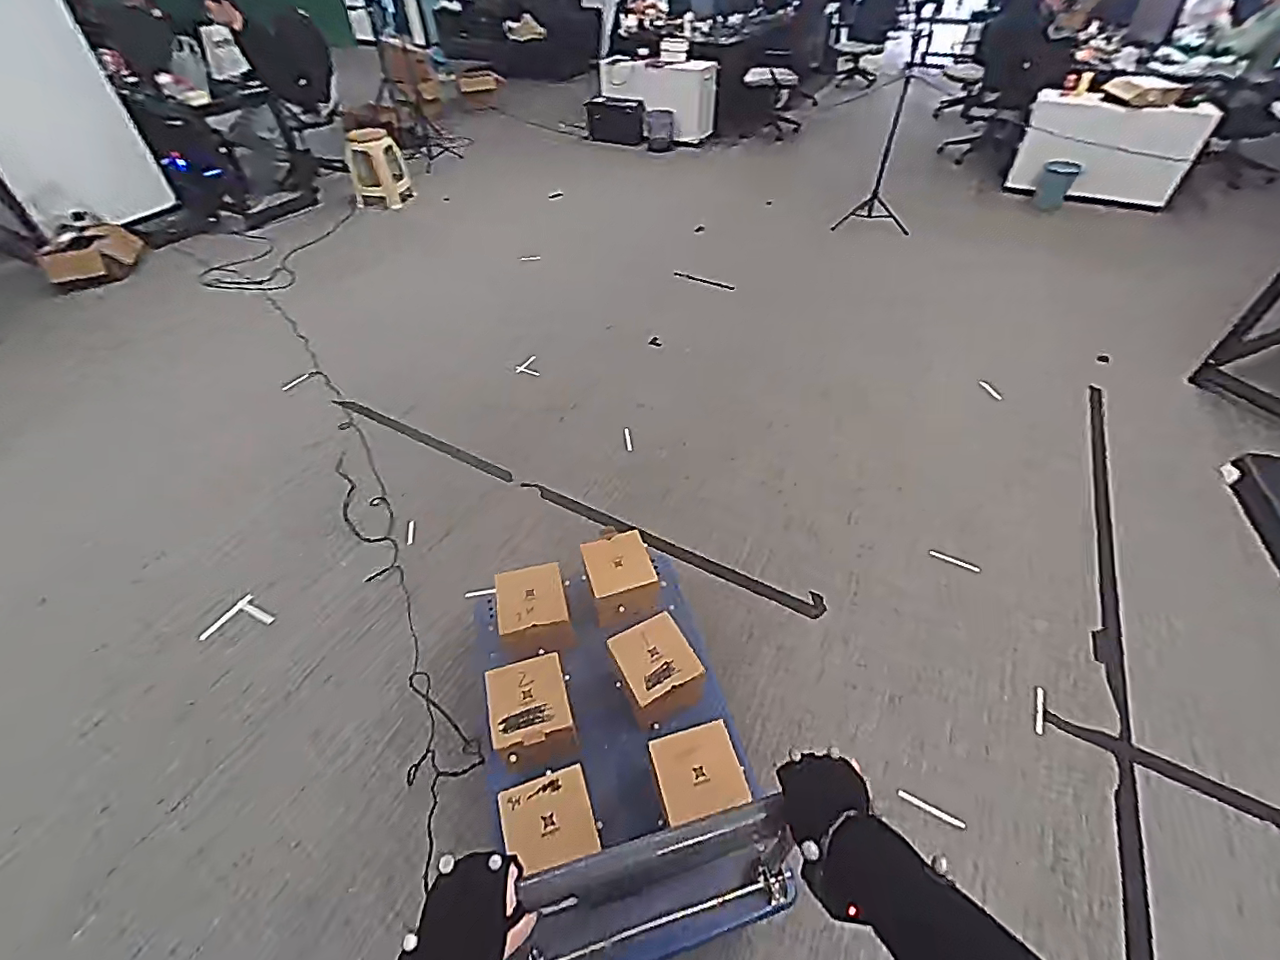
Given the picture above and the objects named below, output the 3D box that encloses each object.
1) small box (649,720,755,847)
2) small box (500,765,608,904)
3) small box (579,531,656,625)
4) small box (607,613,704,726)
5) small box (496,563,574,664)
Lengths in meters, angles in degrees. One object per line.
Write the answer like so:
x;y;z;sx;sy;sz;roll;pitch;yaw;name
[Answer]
0.121;0.632;1.117;0.168;0.176;0.179;-12;47;-10;small box
-0.163;0.697;1.058;0.168;0.176;0.179;-15;48;-14;small box
-0.057;0.272;1.464;0.168;0.176;0.179;-15;48;-12;small box
0.036;0.456;1.285;0.168;0.176;0.179;-22;49;-18;small box
-0.269;0.346;1.395;0.168;0.176;0.179;-11;48;-9;small box
